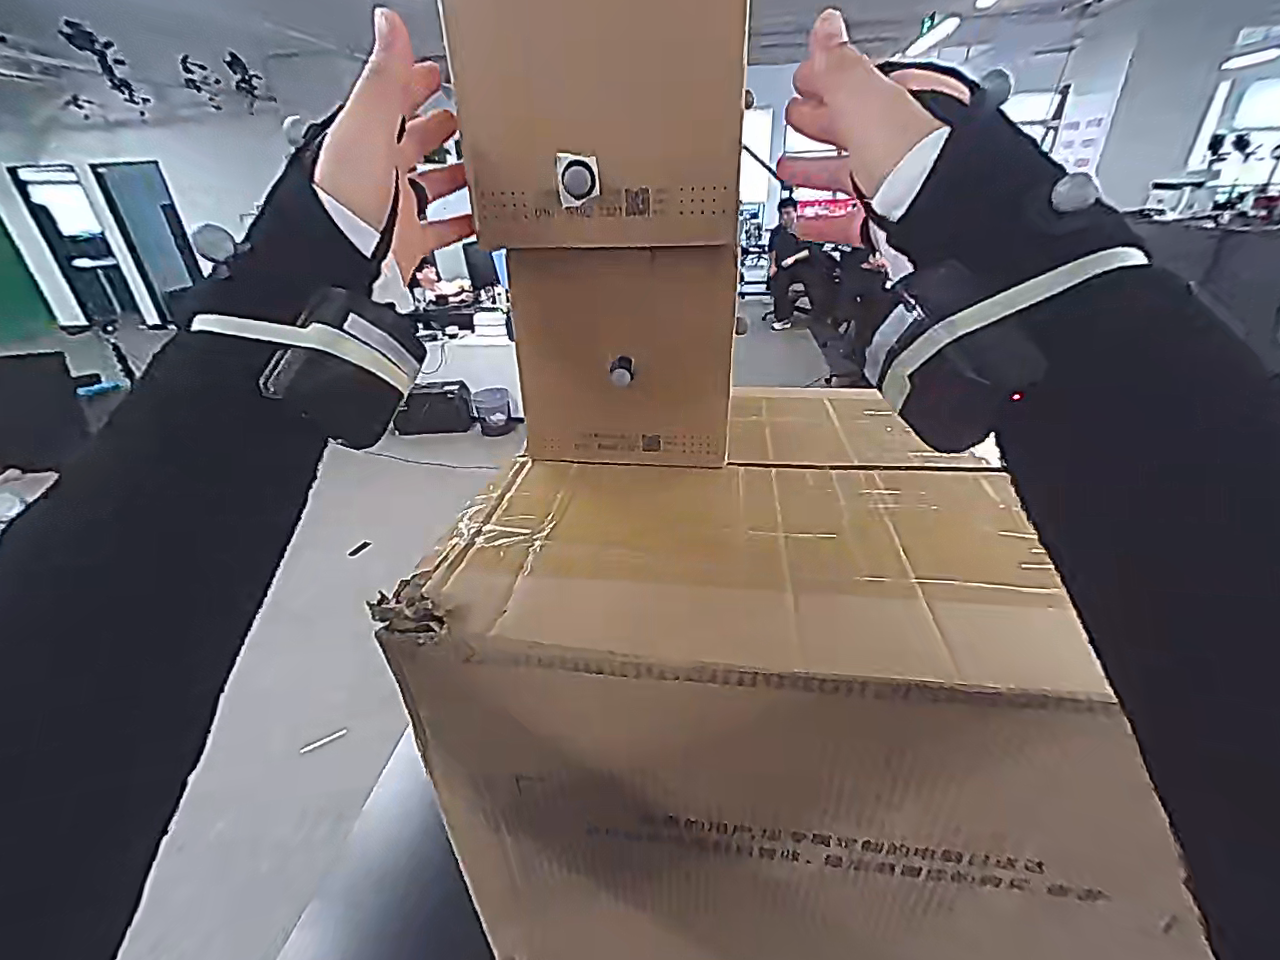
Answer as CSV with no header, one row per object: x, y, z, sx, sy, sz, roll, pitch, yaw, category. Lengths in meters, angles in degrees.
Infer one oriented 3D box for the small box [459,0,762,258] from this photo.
-0.011,-0.251,0.369,0.168,0.176,0.179,0,28,5,small box

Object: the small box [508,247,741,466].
0.001,-0.122,0.476,0.168,0.176,0.179,3,29,7,small box
